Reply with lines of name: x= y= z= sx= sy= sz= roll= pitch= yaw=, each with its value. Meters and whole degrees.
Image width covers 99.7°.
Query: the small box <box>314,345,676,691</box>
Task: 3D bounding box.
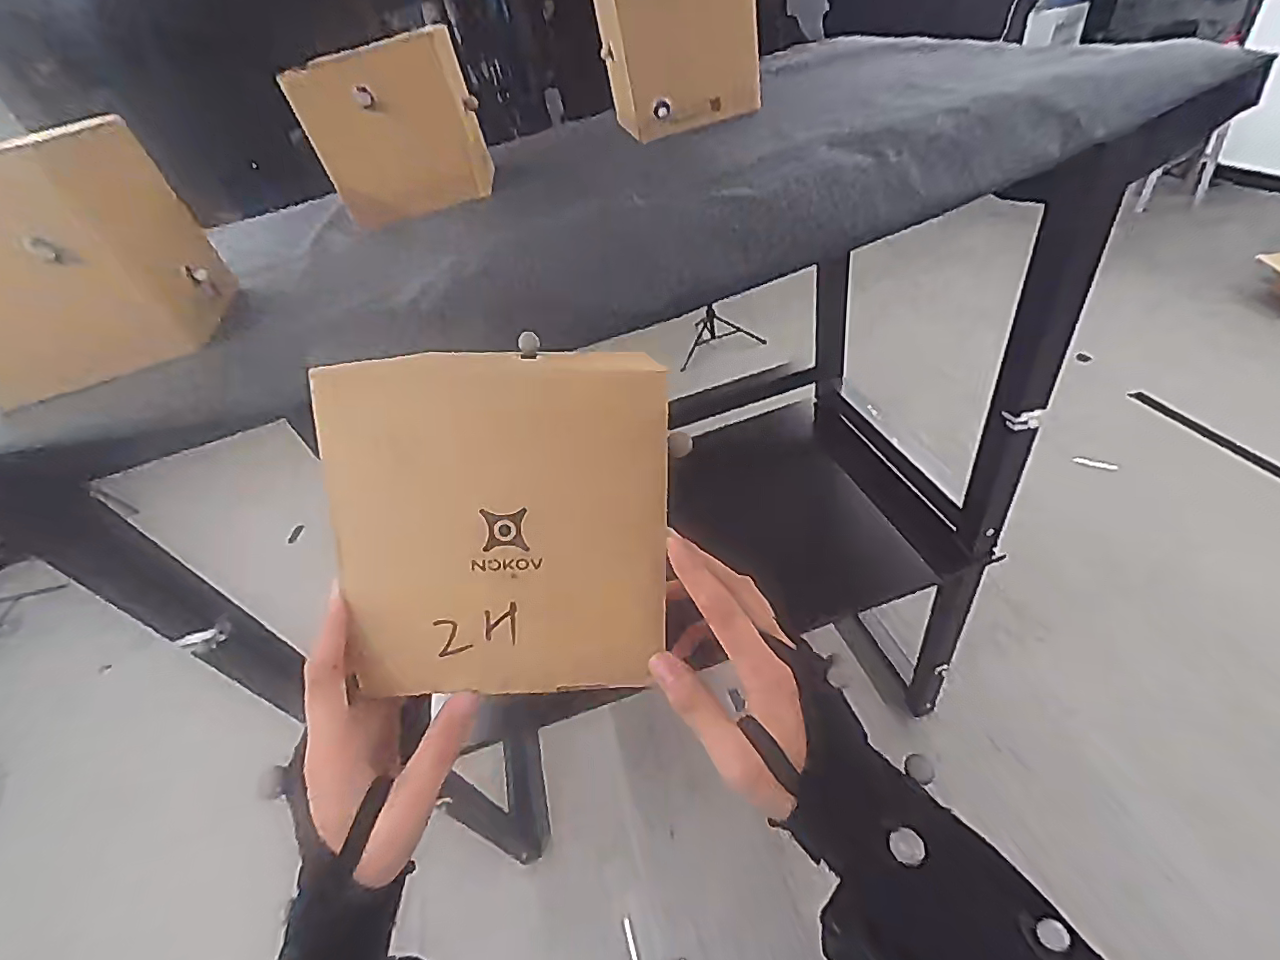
small box: x=-0.071 y=0.007 z=0.345 sx=0.168 sy=0.179 sz=0.176 roll=0 pitch=17 yaw=-3

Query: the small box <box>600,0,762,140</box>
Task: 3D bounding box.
small box: x=0.054 y=-0.571 z=0.713 sx=0.168 sy=0.176 sz=0.179 roll=-16 pitch=42 yaw=-1

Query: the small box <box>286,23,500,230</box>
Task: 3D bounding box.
small box: x=-0.289 y=-0.444 z=0.683 sx=0.179 sy=0.176 sz=0.168 roll=-15 pitch=43 yaw=1
